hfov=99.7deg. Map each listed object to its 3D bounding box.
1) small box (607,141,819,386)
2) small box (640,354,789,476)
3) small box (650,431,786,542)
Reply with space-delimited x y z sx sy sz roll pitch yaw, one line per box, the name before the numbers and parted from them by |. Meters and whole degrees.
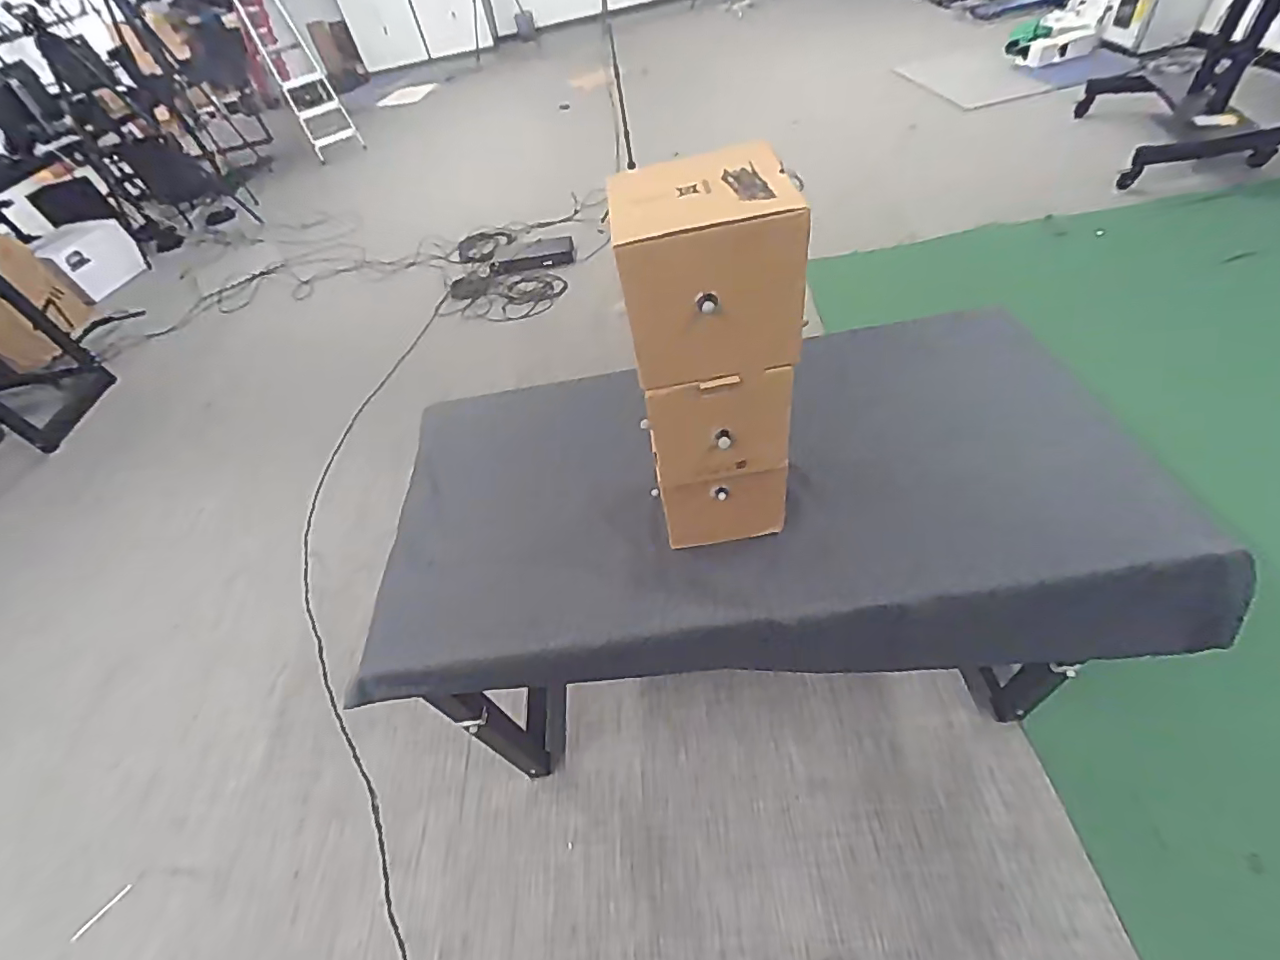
small box | 0.069 -0.224 0.572 0.179 0.176 0.168 -11 49 2
small box | 0.089 -0.121 0.700 0.168 0.176 0.179 -10 50 4
small box | 0.115 -0.021 0.826 0.179 0.176 0.168 -9 50 3
